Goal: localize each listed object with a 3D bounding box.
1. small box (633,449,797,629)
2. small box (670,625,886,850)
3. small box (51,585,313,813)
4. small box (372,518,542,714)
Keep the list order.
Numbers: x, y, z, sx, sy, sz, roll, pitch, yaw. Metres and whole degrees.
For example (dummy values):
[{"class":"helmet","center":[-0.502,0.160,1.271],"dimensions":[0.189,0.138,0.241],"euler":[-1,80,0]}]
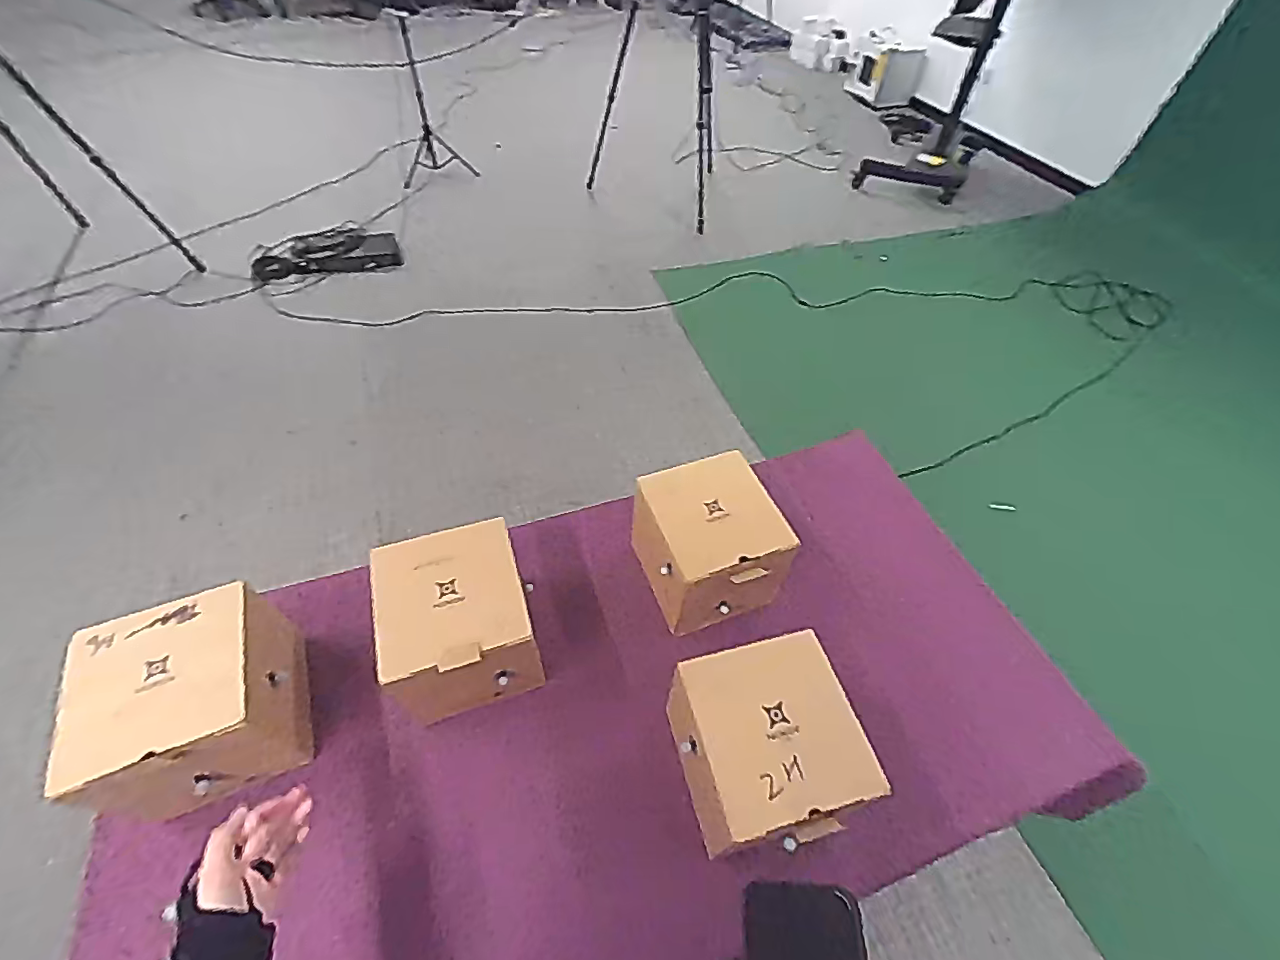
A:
[{"class":"small box","center":[0.094,0.087,0.790],"dimensions":[0.168,0.176,0.179],"euler":[-17,55,-15]},{"class":"small box","center":[0.138,0.297,0.622],"dimensions":[0.168,0.176,0.179],"euler":[-11,53,-10]},{"class":"small box","center":[-0.502,0.257,0.623],"dimensions":[0.168,0.176,0.179],"euler":[-19,56,-18]},{"class":"small box","center":[-0.229,0.182,0.698],"dimensions":[0.168,0.176,0.179],"euler":[-14,53,-15]}]
